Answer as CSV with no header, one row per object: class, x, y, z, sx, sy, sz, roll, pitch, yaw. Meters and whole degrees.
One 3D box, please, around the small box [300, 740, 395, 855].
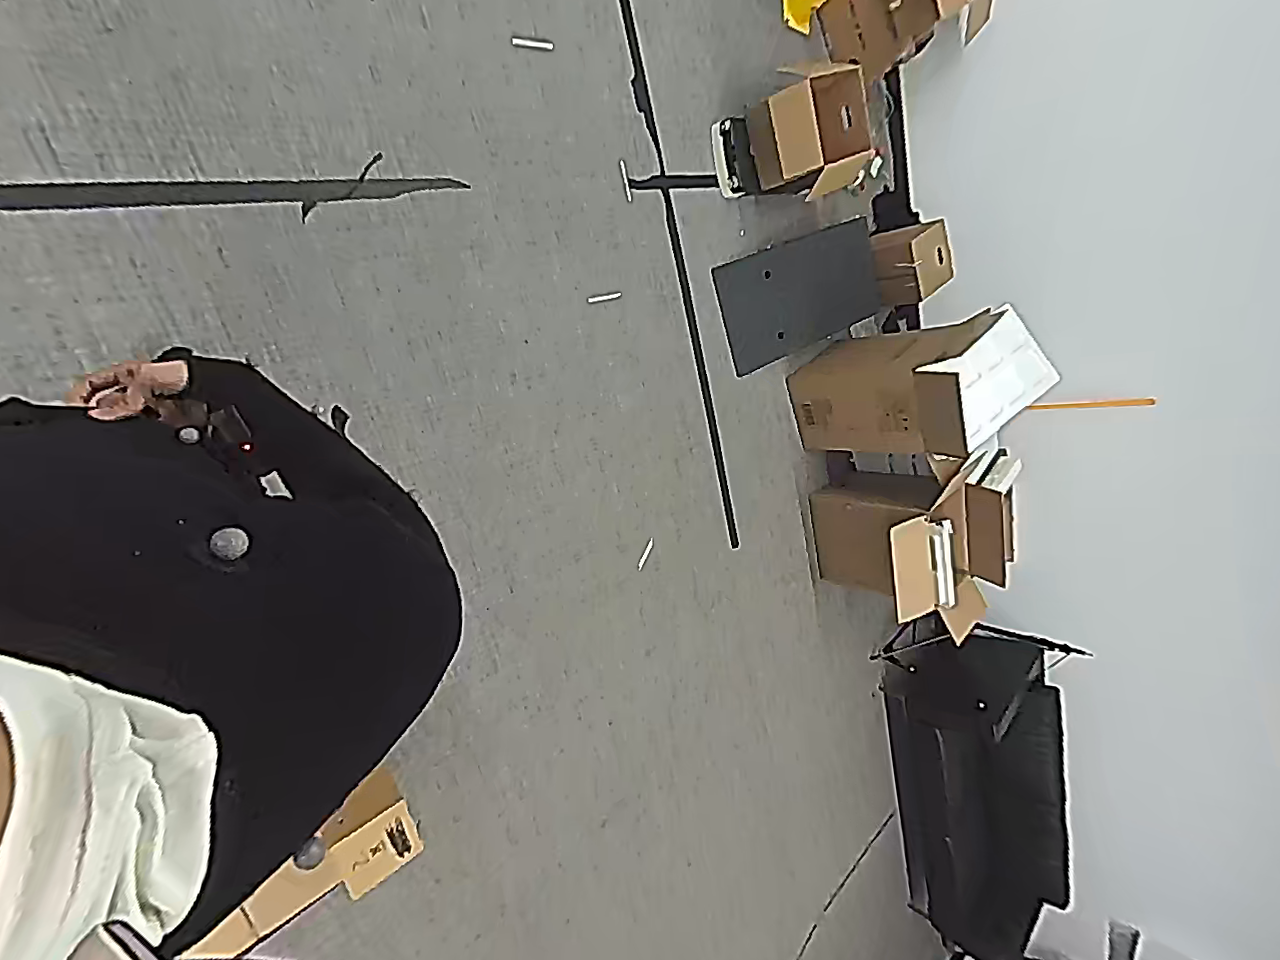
small box,-0.803,0.854,1.474,0.179,0.176,0.168,-25,110,-37
